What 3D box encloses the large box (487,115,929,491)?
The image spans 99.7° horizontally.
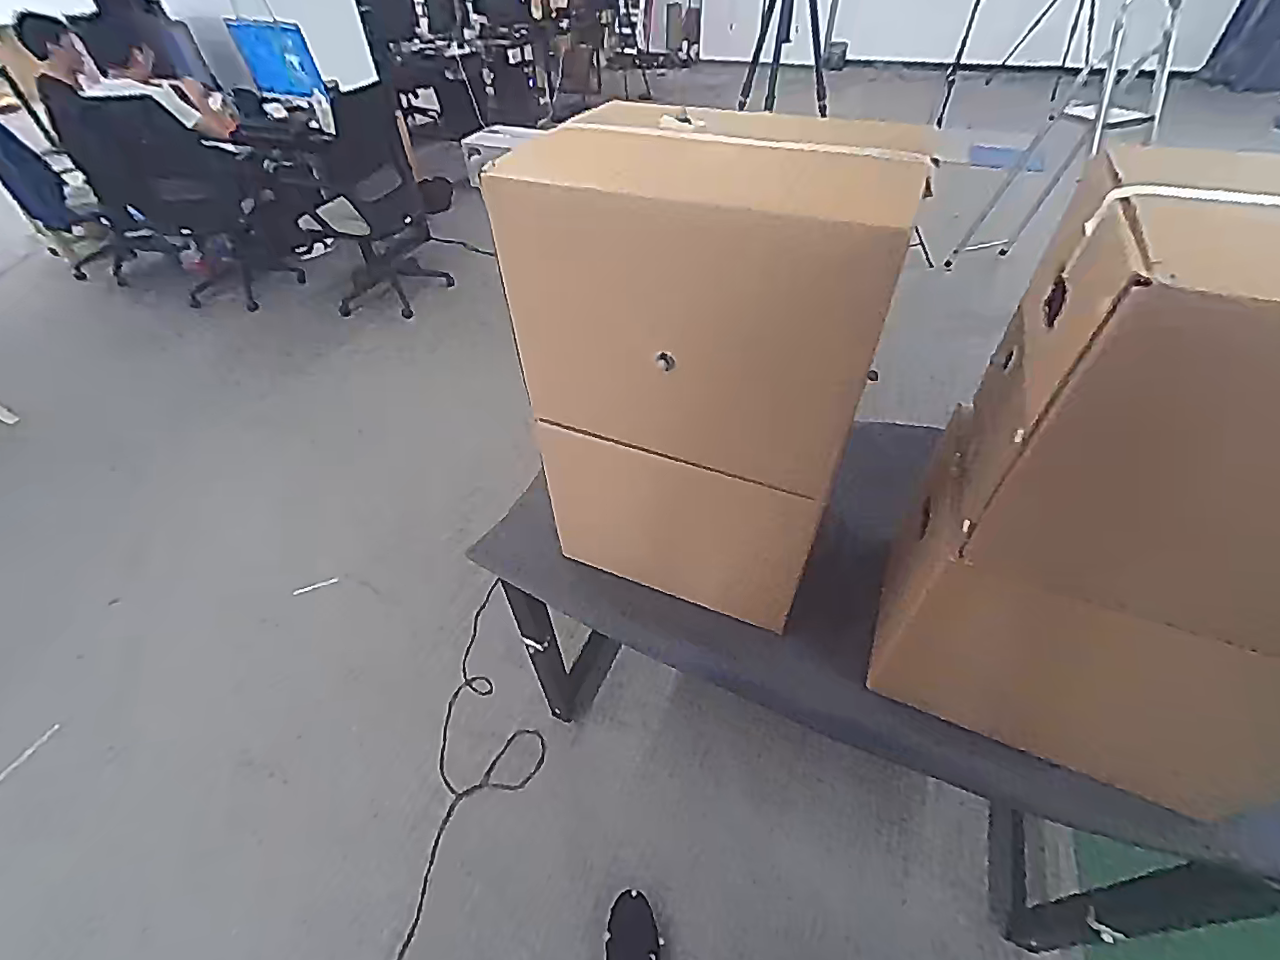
[{"bbox_3d":[0.095,-0.235,0.682,0.408,0.320,0.320,16,48,19],"label":"large box"}]
